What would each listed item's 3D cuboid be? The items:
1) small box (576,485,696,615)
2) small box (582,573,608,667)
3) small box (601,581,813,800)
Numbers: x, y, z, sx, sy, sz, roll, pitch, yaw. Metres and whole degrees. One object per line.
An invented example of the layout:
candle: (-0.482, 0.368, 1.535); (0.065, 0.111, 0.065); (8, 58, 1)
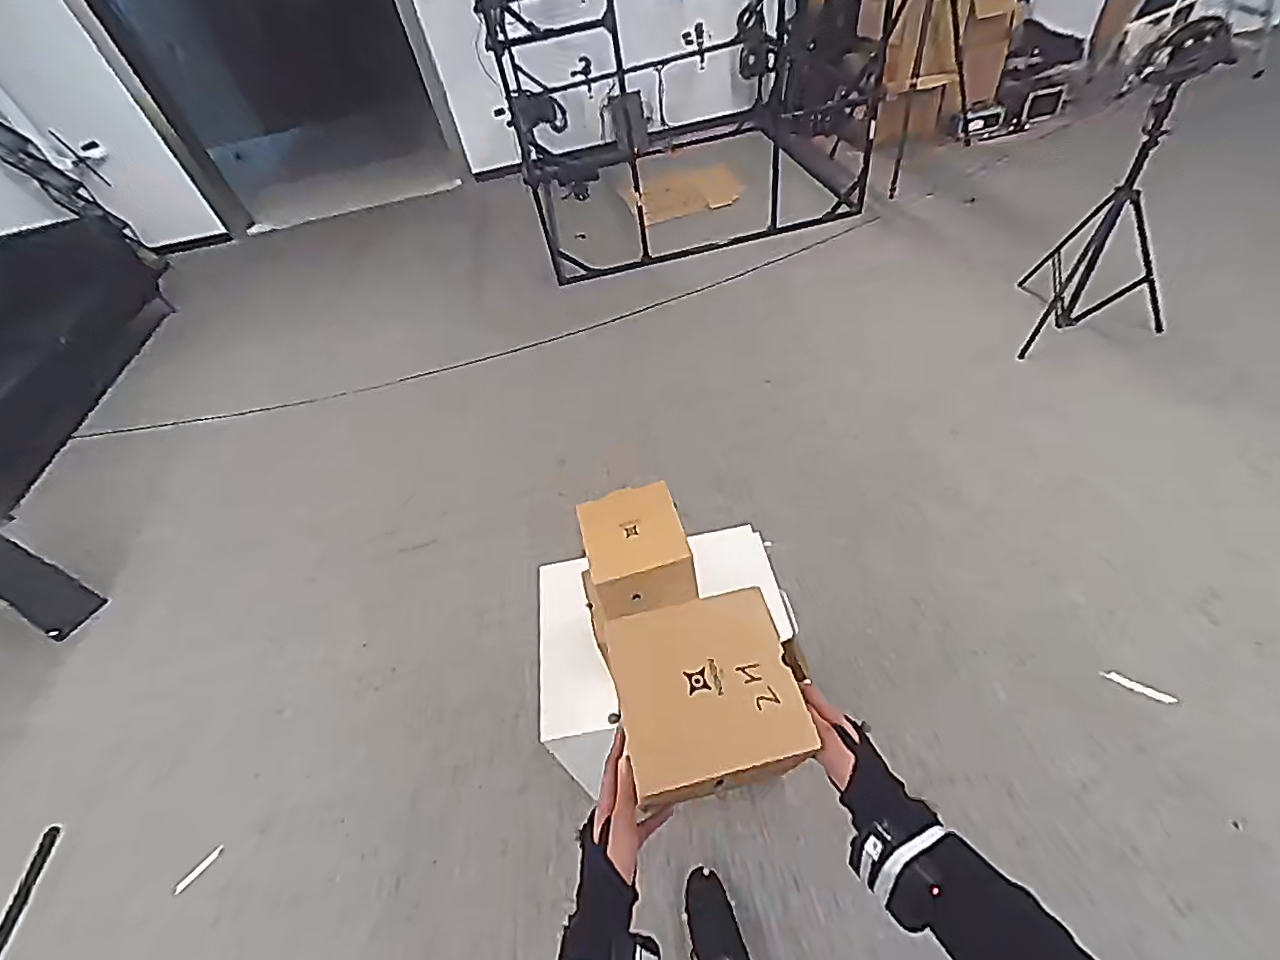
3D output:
small box: (-0.003, 0.143, 0.956); (0.168, 0.176, 0.179); (-16, 46, -3)
small box: (0.000, 0.270, 1.061); (0.179, 0.176, 0.168); (-16, 47, -4)
small box: (0.062, 0.236, 0.597); (0.179, 0.176, 0.168); (-11, 55, -6)
